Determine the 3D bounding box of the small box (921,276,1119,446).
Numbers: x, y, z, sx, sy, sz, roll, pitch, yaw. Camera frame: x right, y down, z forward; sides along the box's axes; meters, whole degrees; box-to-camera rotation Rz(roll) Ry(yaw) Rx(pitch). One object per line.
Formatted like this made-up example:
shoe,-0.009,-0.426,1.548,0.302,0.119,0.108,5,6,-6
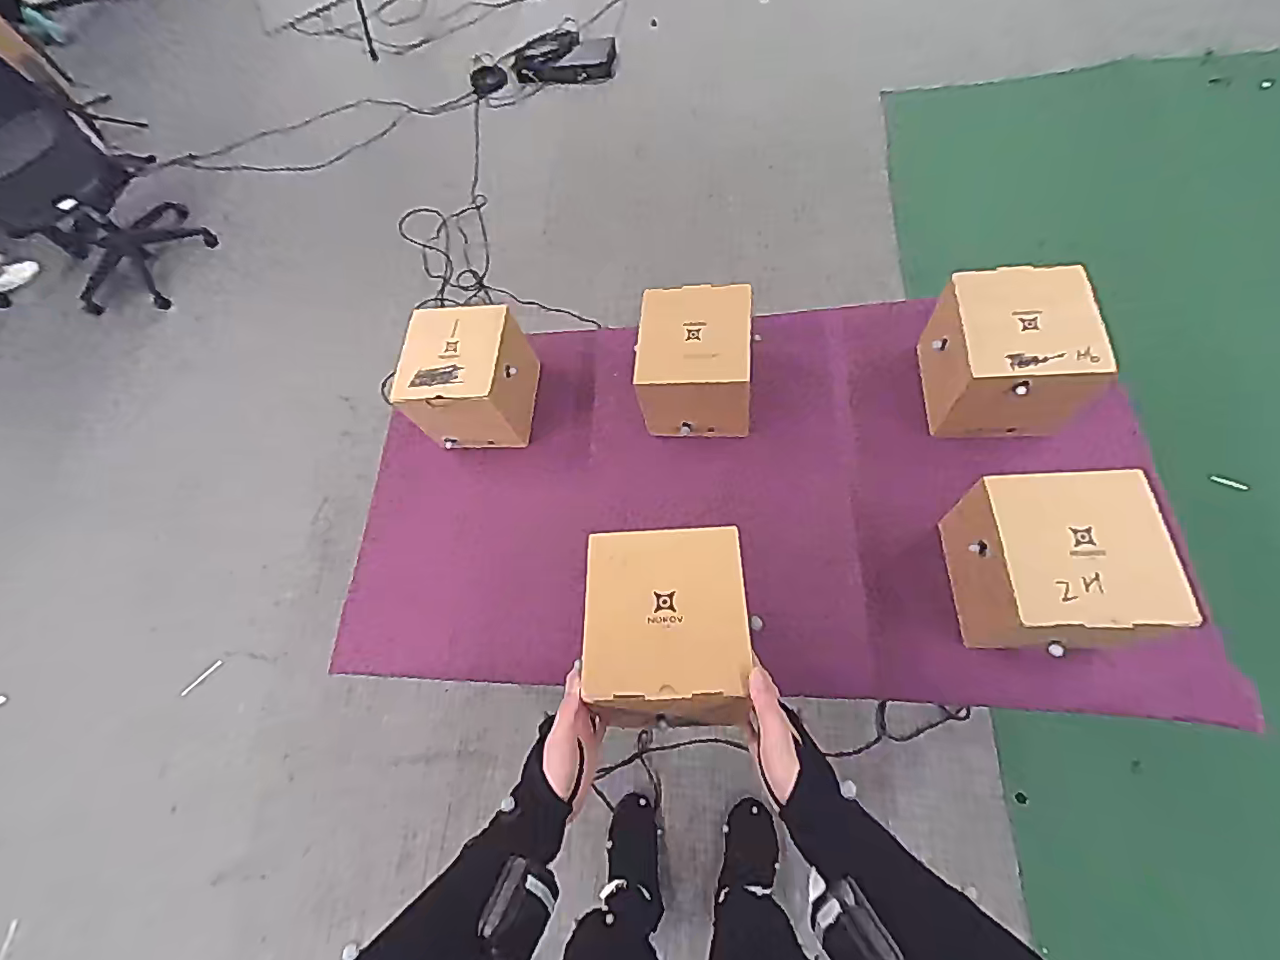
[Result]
small box,0.522,-0.164,0.776,0.168,0.176,0.179,0,67,10

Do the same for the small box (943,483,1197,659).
small box,0.493,0.116,0.658,0.168,0.176,0.179,-2,67,10

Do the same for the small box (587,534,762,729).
small box,0.036,0.176,0.612,0.168,0.176,0.179,-3,59,3

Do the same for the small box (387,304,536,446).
small box,-0.282,-0.166,0.900,0.168,0.176,0.179,1,68,8

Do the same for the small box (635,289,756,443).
small box,0.092,-0.175,0.850,0.168,0.176,0.179,2,68,10
